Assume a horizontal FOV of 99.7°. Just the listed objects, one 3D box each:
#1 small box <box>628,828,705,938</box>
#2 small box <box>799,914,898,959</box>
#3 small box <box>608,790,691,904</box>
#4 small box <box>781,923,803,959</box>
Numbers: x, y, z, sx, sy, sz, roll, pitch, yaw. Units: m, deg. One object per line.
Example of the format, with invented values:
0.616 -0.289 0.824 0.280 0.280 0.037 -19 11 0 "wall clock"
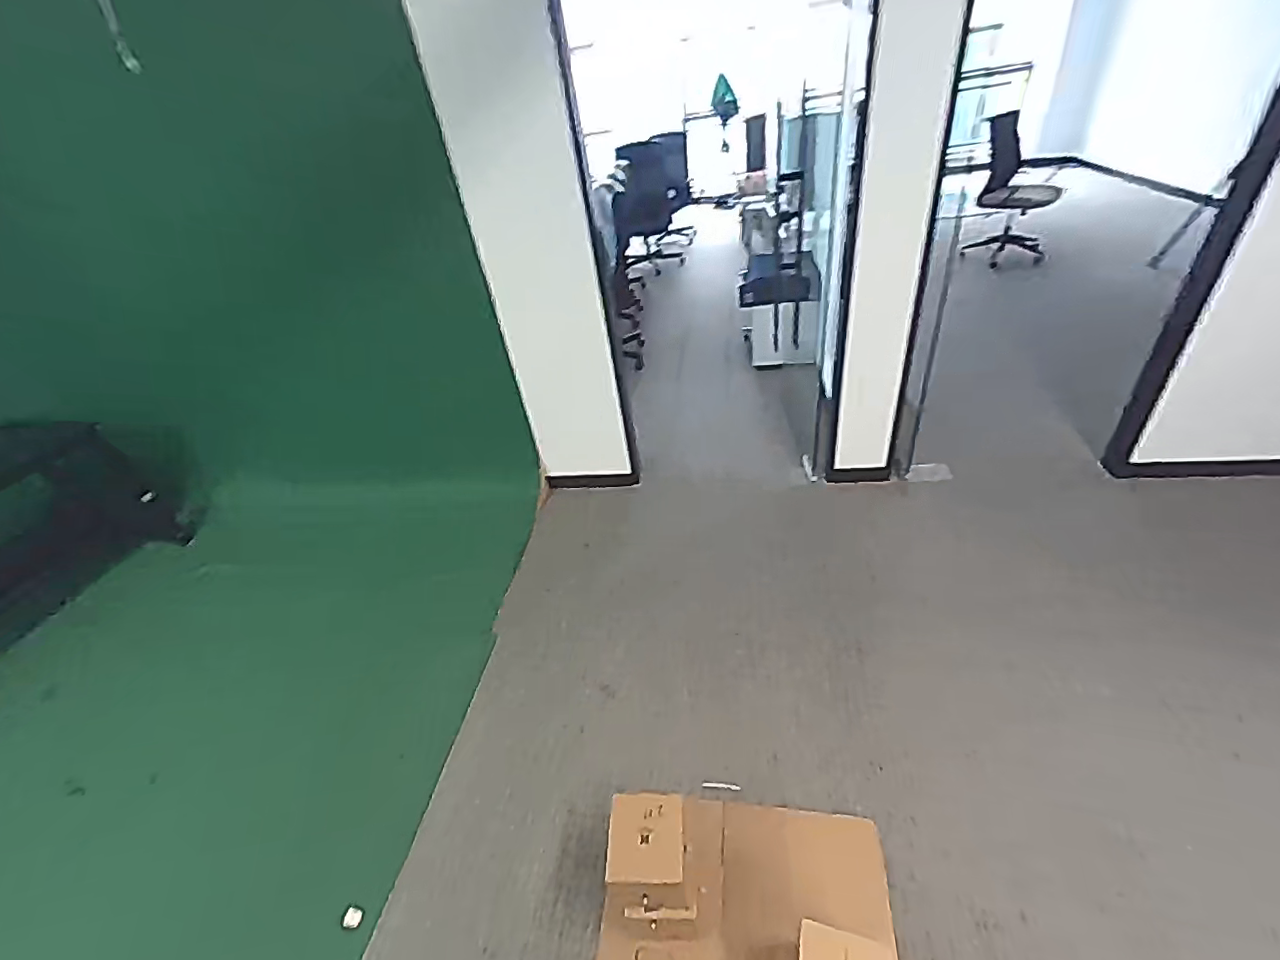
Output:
0.069 0.978 1.317 0.168 0.176 0.179 -4 37 7 "small box"
0.377 0.958 0.996 0.168 0.176 0.179 6 38 19 "small box"
0.030 0.839 1.234 0.168 0.176 0.179 -3 36 7 "small box"
0.376 1.071 1.121 0.168 0.176 0.179 2 38 17 "small box"
